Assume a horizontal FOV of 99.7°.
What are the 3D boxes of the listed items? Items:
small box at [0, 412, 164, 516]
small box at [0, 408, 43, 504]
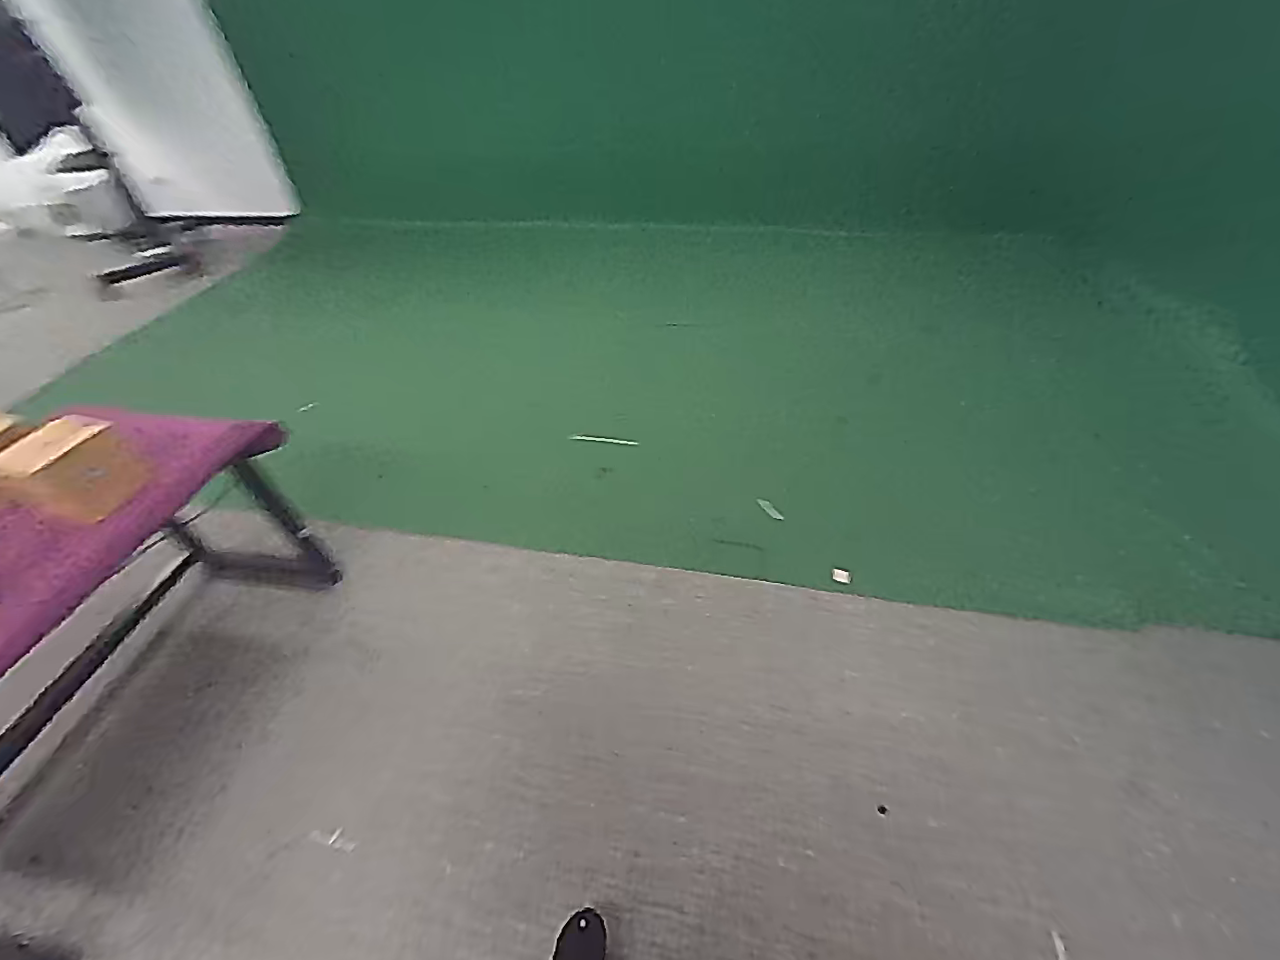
[{"bbox_3d":[-1.314,-0.037,1.290,0.168,0.176,0.179,9,48,15],"label":"small box"},{"bbox_3d":[-1.580,-0.061,1.339,0.179,0.176,0.168,10,47,15],"label":"small box"}]
